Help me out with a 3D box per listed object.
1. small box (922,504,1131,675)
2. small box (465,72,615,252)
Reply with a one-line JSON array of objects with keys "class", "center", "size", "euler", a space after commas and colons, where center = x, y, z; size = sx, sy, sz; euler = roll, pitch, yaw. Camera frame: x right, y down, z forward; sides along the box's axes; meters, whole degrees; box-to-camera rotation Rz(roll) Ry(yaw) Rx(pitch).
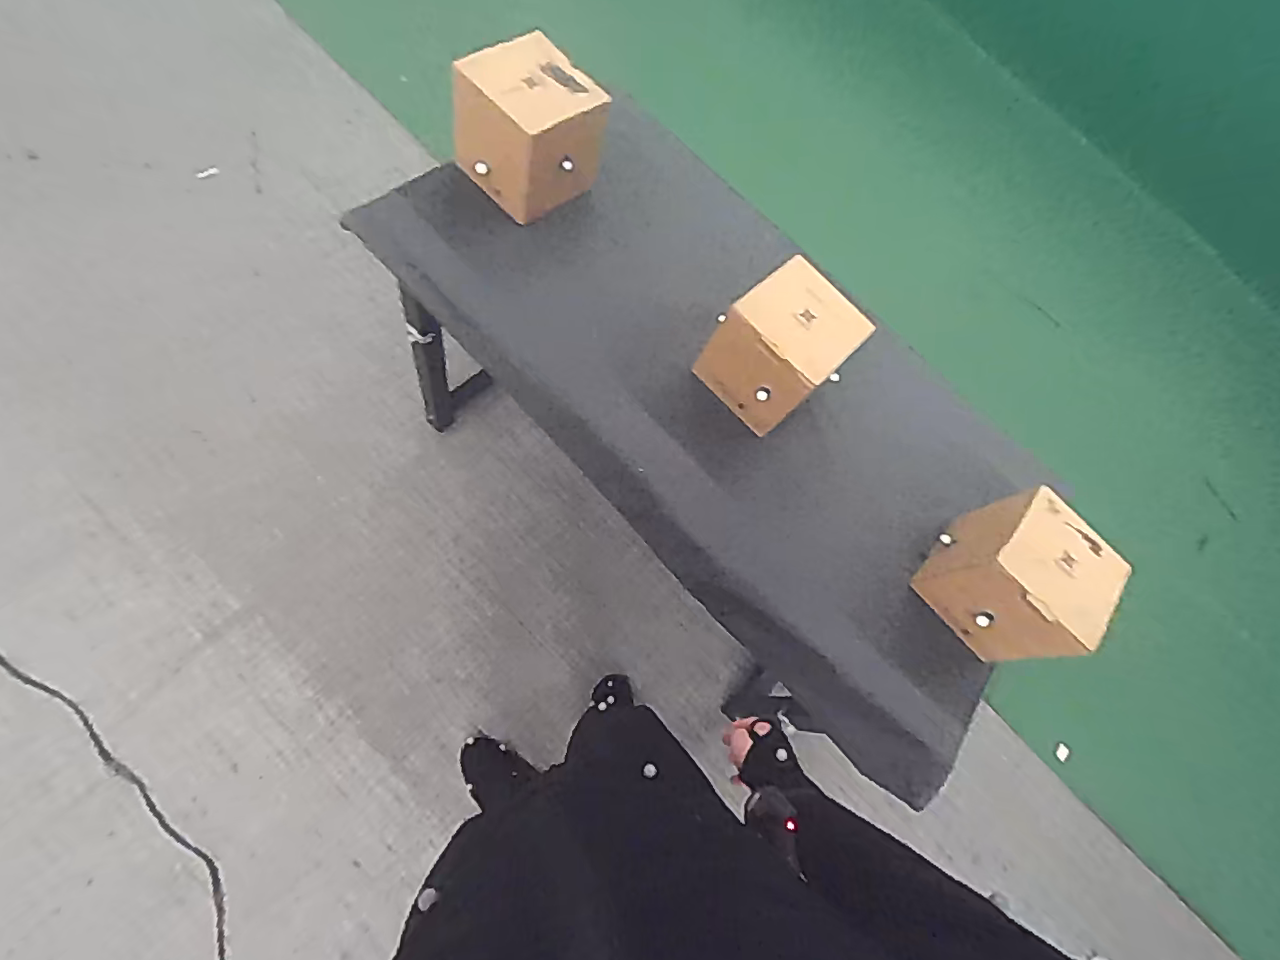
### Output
[{"class": "small box", "center": [0.567, 0.173, 0.816], "size": [0.179, 0.176, 0.168], "euler": [-40, 82, -26]}, {"class": "small box", "center": [-0.173, -0.524, 0.903], "size": [0.168, 0.176, 0.179], "euler": [44, 63, 5]}]
